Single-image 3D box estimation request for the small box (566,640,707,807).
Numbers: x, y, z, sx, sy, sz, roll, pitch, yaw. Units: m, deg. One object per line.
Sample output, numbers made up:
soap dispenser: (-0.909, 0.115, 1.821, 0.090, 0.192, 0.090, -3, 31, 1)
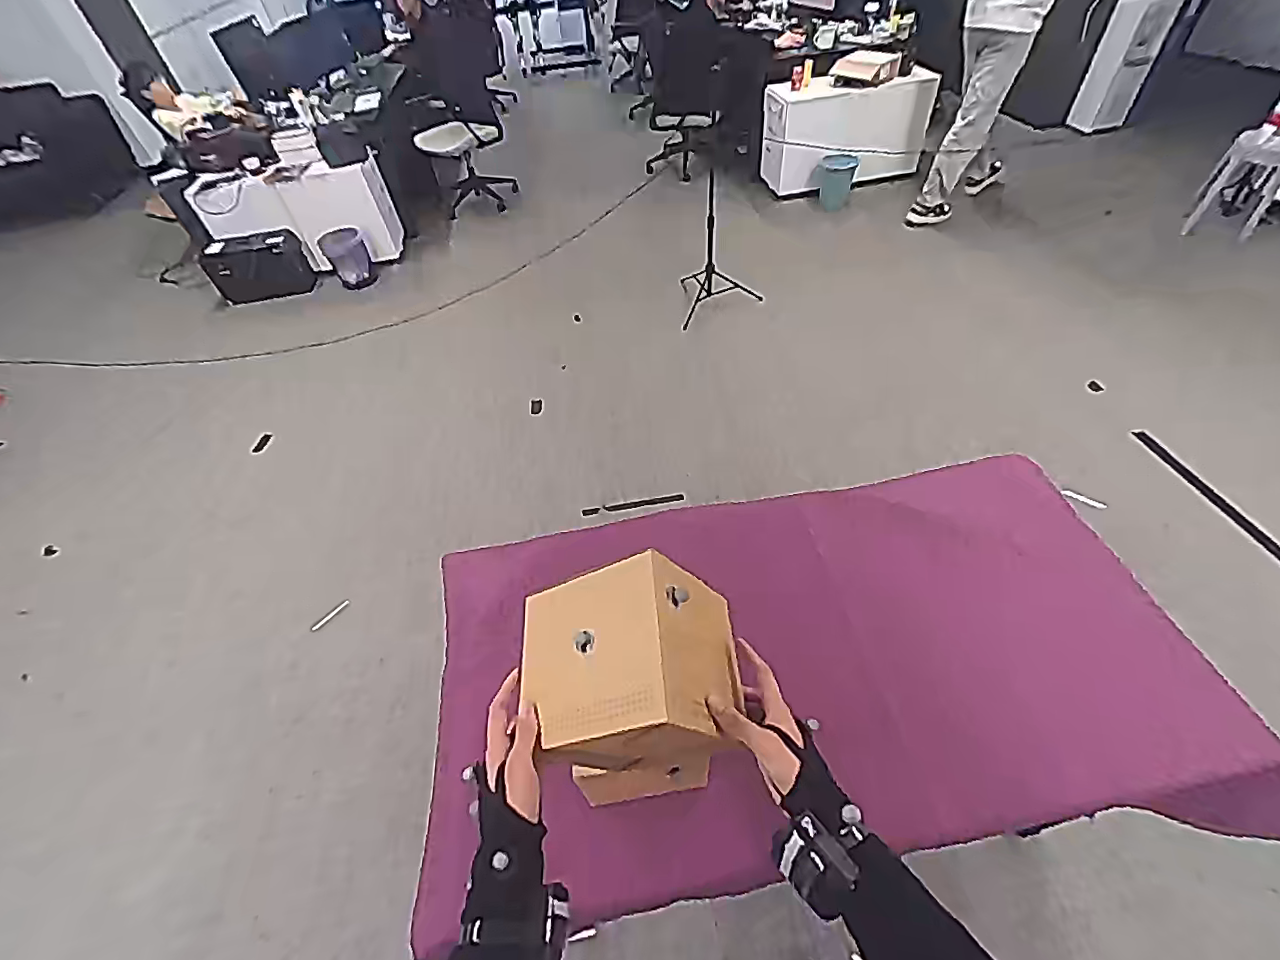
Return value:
small box: (-0.006, 0.355, 0.784, 0.179, 0.176, 0.168, -9, 48, -2)
